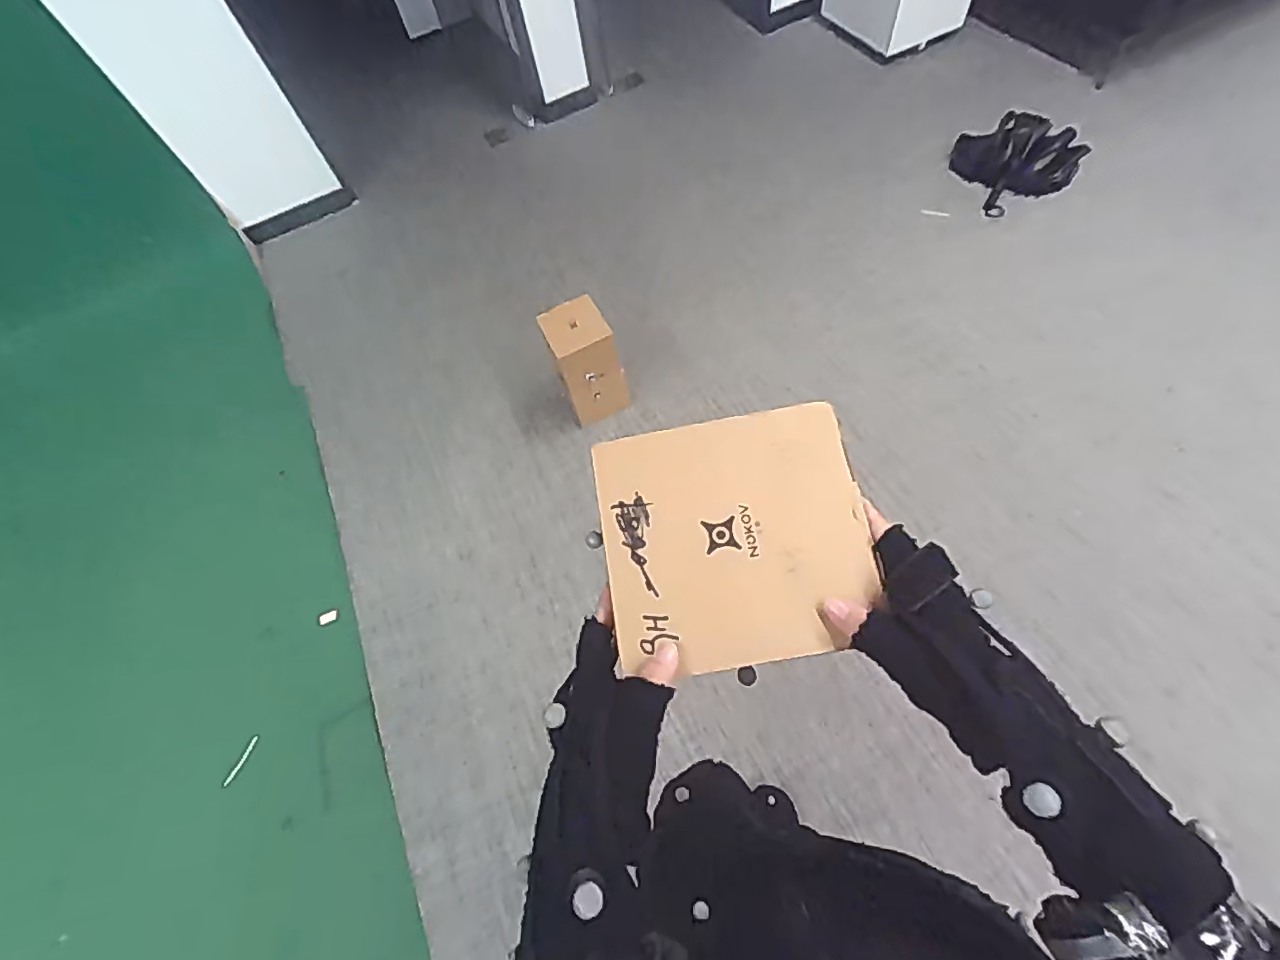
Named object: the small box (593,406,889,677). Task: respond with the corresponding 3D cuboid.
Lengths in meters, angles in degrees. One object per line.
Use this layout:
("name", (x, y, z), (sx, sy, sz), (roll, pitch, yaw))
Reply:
("small box", (0.066, 0.060, 0.440), (0.179, 0.176, 0.168), (-10, 70, 1))

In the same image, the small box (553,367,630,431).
("small box", (-0.147, -0.281, 1.690), (0.179, 0.176, 0.168), (-26, 62, -7))

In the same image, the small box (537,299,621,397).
("small box", (-0.171, -0.370, 1.537), (0.168, 0.176, 0.179), (-27, 63, -5))
